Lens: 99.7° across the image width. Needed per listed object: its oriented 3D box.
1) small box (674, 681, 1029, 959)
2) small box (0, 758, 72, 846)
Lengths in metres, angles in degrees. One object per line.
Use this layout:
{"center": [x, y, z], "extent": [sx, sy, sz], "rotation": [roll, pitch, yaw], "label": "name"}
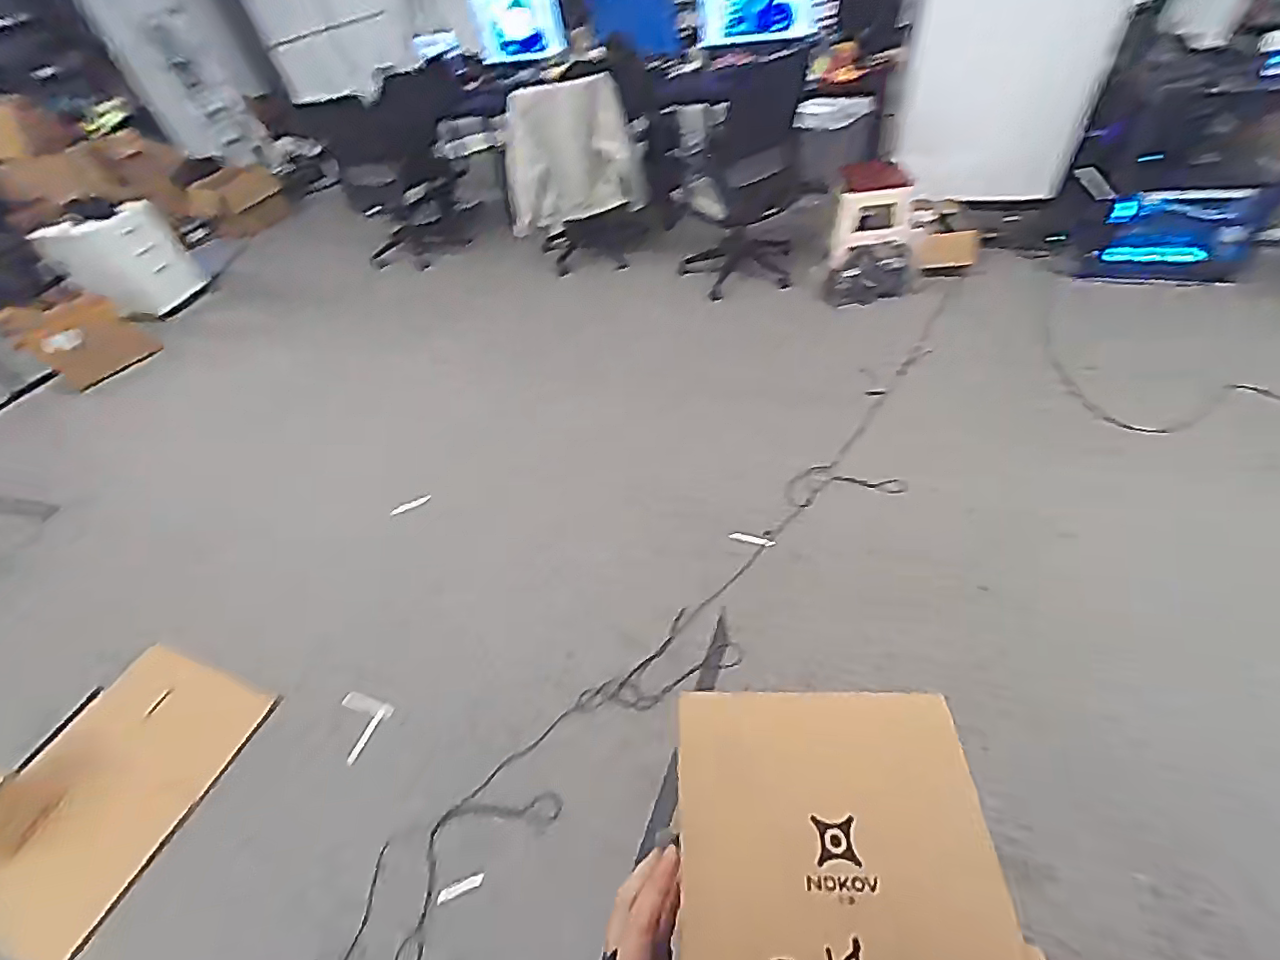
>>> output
{"center": [0.105, 0.246, 0.345], "extent": [0.168, 0.176, 0.179], "rotation": [-2, 49, 4], "label": "small box"}
{"center": [-1.719, 0.863, 1.455], "extent": [0.179, 0.176, 0.168], "rotation": [7, 50, 16], "label": "small box"}
